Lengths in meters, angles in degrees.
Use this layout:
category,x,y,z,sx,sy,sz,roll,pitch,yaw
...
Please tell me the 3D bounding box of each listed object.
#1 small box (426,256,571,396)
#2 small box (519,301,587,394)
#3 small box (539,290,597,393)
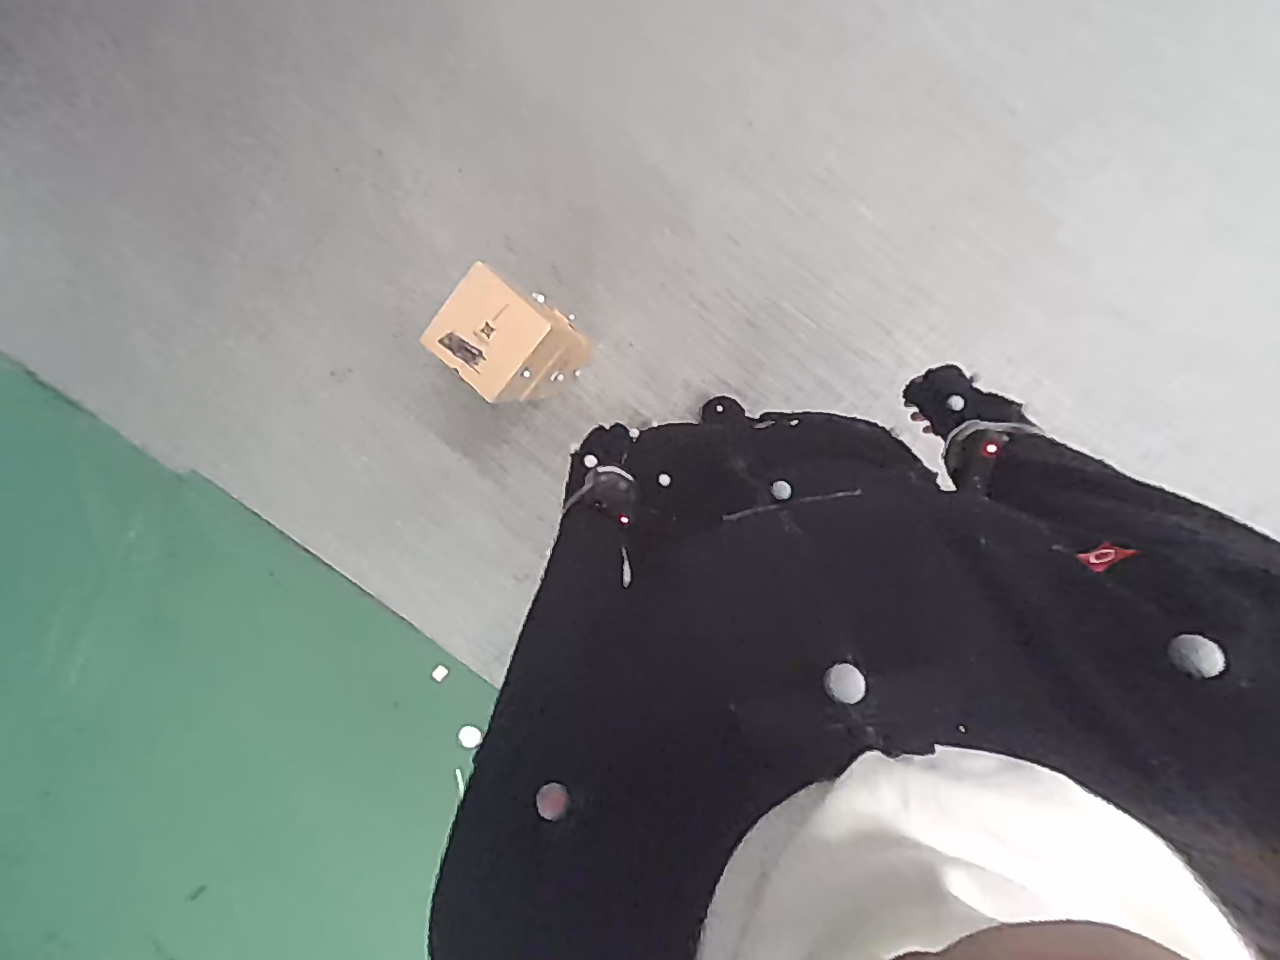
category,x,y,z,sx,sy,sz,roll,pitch,yaw
small box,-0.249,-0.276,1.001,0.168,0.176,0.179,42,102,-4
small box,-0.239,-0.304,1.163,0.179,0.176,0.168,41,103,-5
small box,-0.220,-0.333,1.322,0.168,0.176,0.179,42,101,-4
